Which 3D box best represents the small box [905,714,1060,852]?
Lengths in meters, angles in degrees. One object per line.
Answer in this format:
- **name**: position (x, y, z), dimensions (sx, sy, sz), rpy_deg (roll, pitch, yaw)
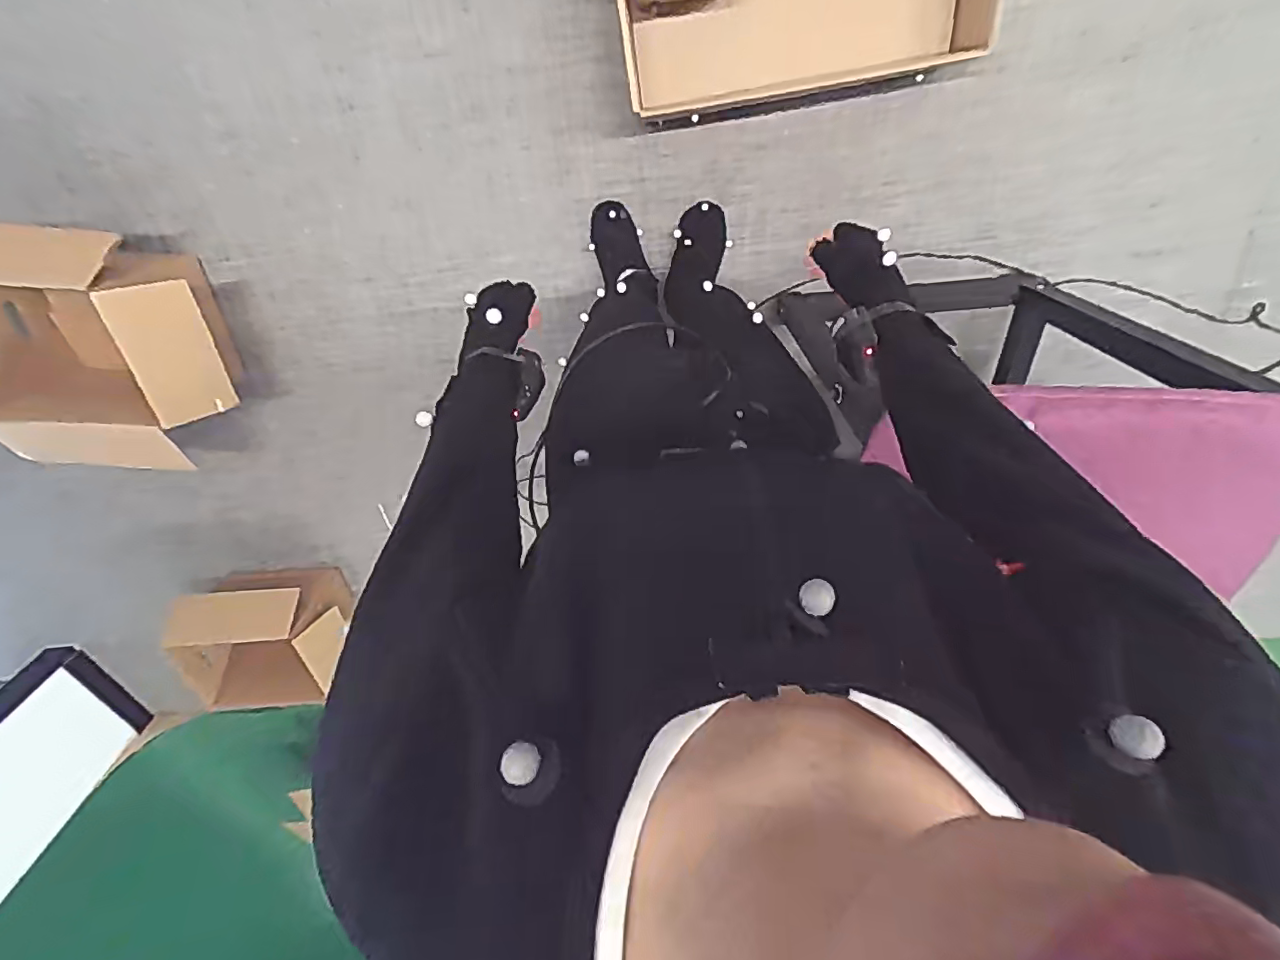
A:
- **small box**: position (0.619, 0.560, 1.006), dimensions (0.179, 0.176, 0.168), rpy_deg (-6, 123, 4)
